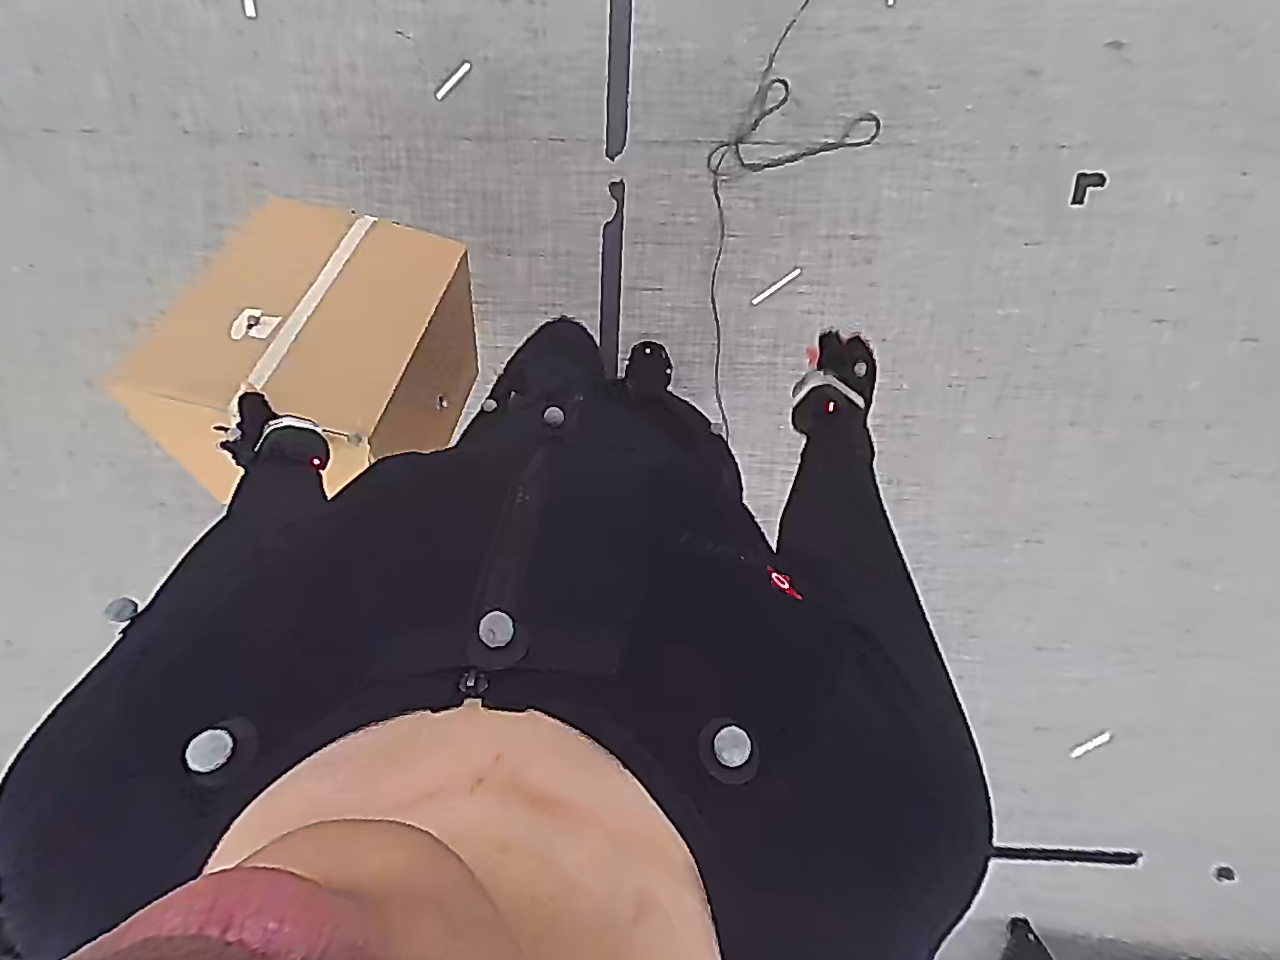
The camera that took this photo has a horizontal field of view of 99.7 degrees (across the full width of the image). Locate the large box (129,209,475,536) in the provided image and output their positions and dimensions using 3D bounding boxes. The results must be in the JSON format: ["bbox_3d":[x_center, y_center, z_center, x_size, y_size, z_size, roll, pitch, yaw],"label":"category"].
[{"bbox_3d":[-0.493,-0.171,0.913,0.320,0.408,0.320,12,148,-4],"label":"large box"}]
